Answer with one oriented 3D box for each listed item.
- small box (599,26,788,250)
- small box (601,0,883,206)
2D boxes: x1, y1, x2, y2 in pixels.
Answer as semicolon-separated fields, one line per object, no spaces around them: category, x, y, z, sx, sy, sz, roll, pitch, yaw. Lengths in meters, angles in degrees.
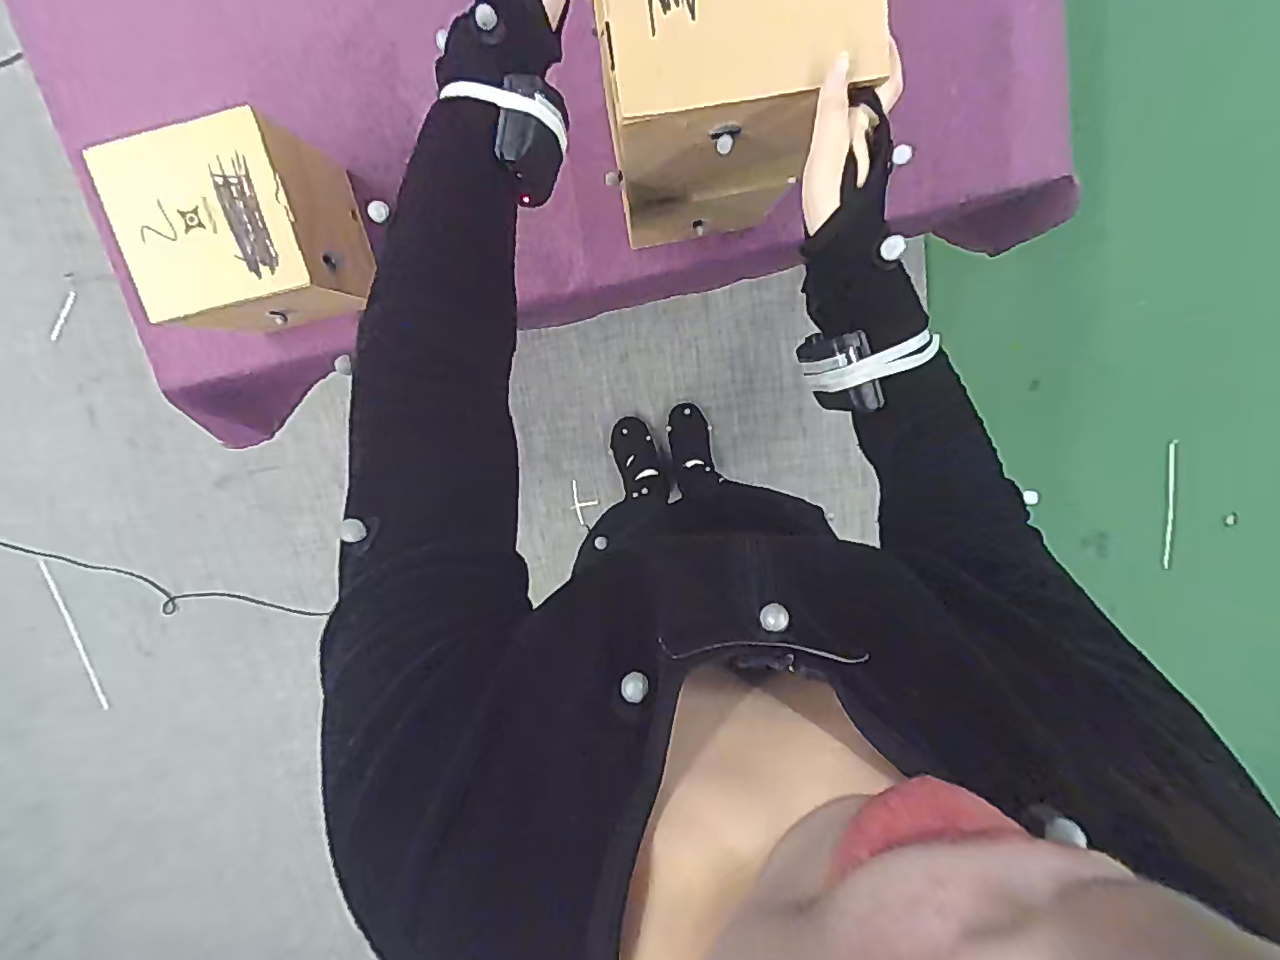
small box;0.054;-0.365;0.595;0.168;0.176;0.179;-9;101;1
small box;0.063;-0.331;0.418;0.179;0.176;0.168;-7;100;2
